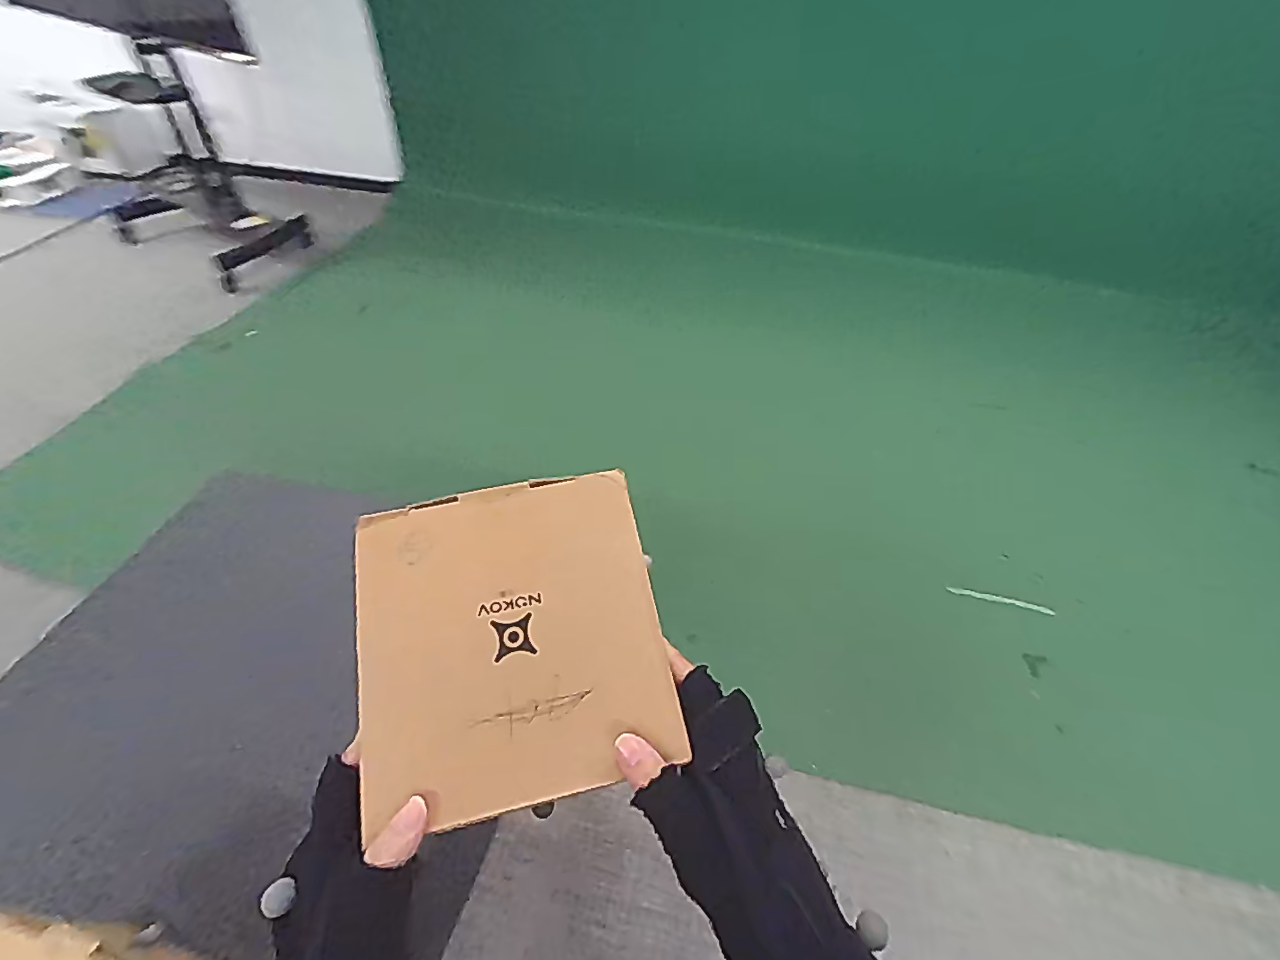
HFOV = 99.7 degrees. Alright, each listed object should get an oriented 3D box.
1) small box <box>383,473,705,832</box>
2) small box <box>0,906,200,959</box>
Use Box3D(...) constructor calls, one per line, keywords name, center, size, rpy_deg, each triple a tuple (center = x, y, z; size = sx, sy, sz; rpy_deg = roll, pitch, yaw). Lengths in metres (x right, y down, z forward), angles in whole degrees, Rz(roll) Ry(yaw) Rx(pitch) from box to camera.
Box3D(name="small box", center=(-0.067, 0.118, 0.380), size=(0.168, 0.176, 0.179), rpy_deg=(-10, 66, -8))
Box3D(name="small box", center=(-0.452, 0.464, 0.410), size=(0.168, 0.176, 0.179), rpy_deg=(11, 46, 8))
